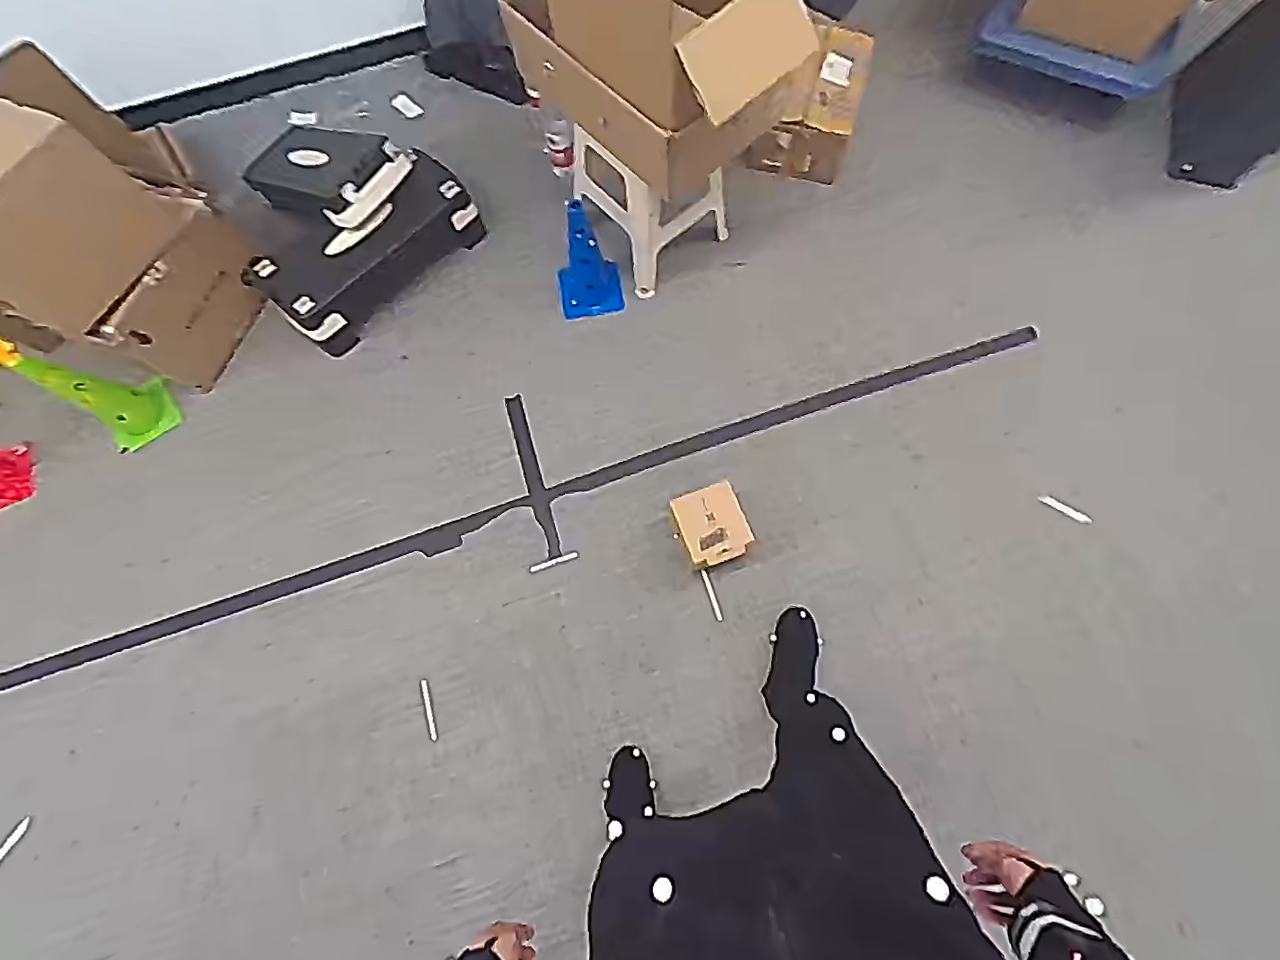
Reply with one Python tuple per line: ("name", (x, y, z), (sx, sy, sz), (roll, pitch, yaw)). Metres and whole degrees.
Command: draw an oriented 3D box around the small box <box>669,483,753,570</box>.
("small box", (0.183, 0.133, 1.442), (0.168, 0.176, 0.179), (-20, 72, -4))
